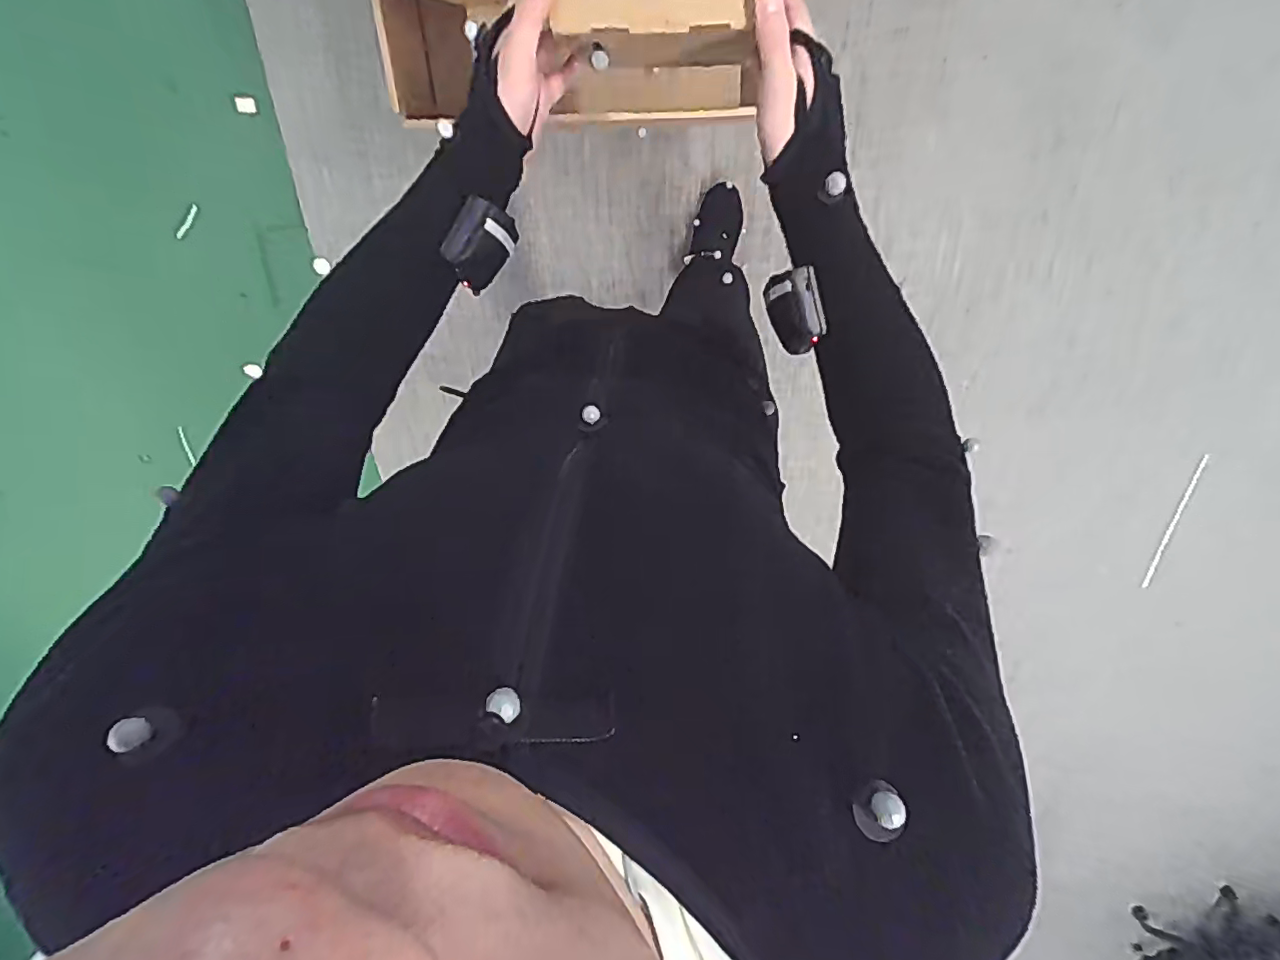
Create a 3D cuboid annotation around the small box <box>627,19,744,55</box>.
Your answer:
[{"bbox_3d":[0.069,-0.731,0.773,0.168,0.176,0.179,1,117,5],"label":"small box"}]

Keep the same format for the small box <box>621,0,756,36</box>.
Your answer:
[{"bbox_3d":[0.055,-0.653,0.630,0.168,0.176,0.179,1,118,5],"label":"small box"}]
